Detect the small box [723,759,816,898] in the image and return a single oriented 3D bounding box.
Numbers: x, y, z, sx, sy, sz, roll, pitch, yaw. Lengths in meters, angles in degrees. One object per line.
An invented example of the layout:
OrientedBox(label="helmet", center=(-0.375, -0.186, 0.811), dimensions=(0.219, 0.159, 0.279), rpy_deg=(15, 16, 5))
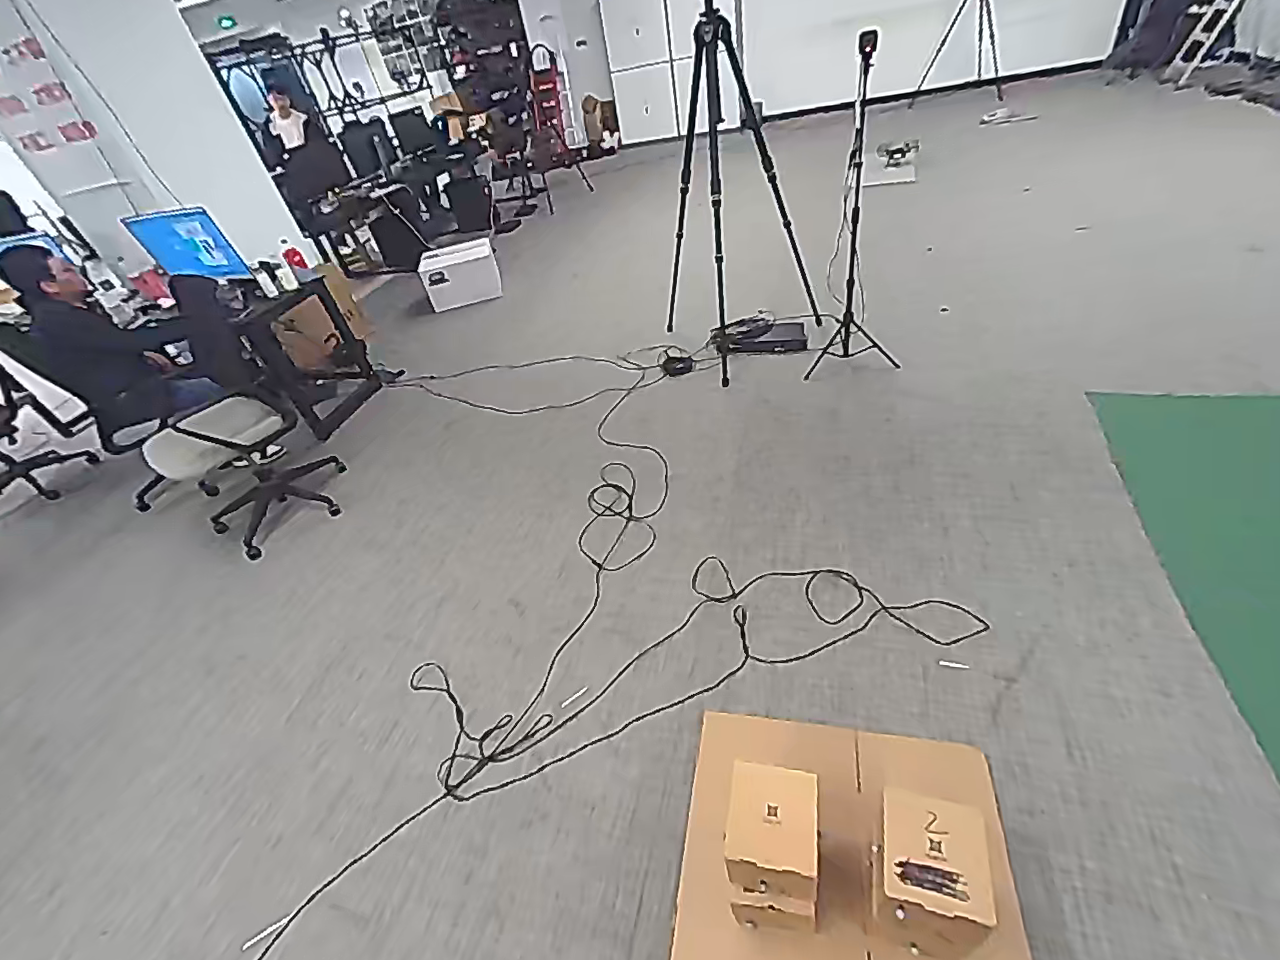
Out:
OrientedBox(label="small box", center=(0.262, 0.693, 1.079), dimensions=(0.168, 0.176, 0.179), rpy_deg=(1, 42, 17))

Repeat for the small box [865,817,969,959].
OrientedBox(label="small box", center=(0.551, 0.828, 1.098), dimensions=(0.168, 0.176, 0.179), rpy_deg=(3, 43, 21))

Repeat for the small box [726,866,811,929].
OrientedBox(label="small box", center=(0.280, 0.833, 1.165), dimensions=(0.168, 0.176, 0.179), rpy_deg=(-1, 41, 15))
